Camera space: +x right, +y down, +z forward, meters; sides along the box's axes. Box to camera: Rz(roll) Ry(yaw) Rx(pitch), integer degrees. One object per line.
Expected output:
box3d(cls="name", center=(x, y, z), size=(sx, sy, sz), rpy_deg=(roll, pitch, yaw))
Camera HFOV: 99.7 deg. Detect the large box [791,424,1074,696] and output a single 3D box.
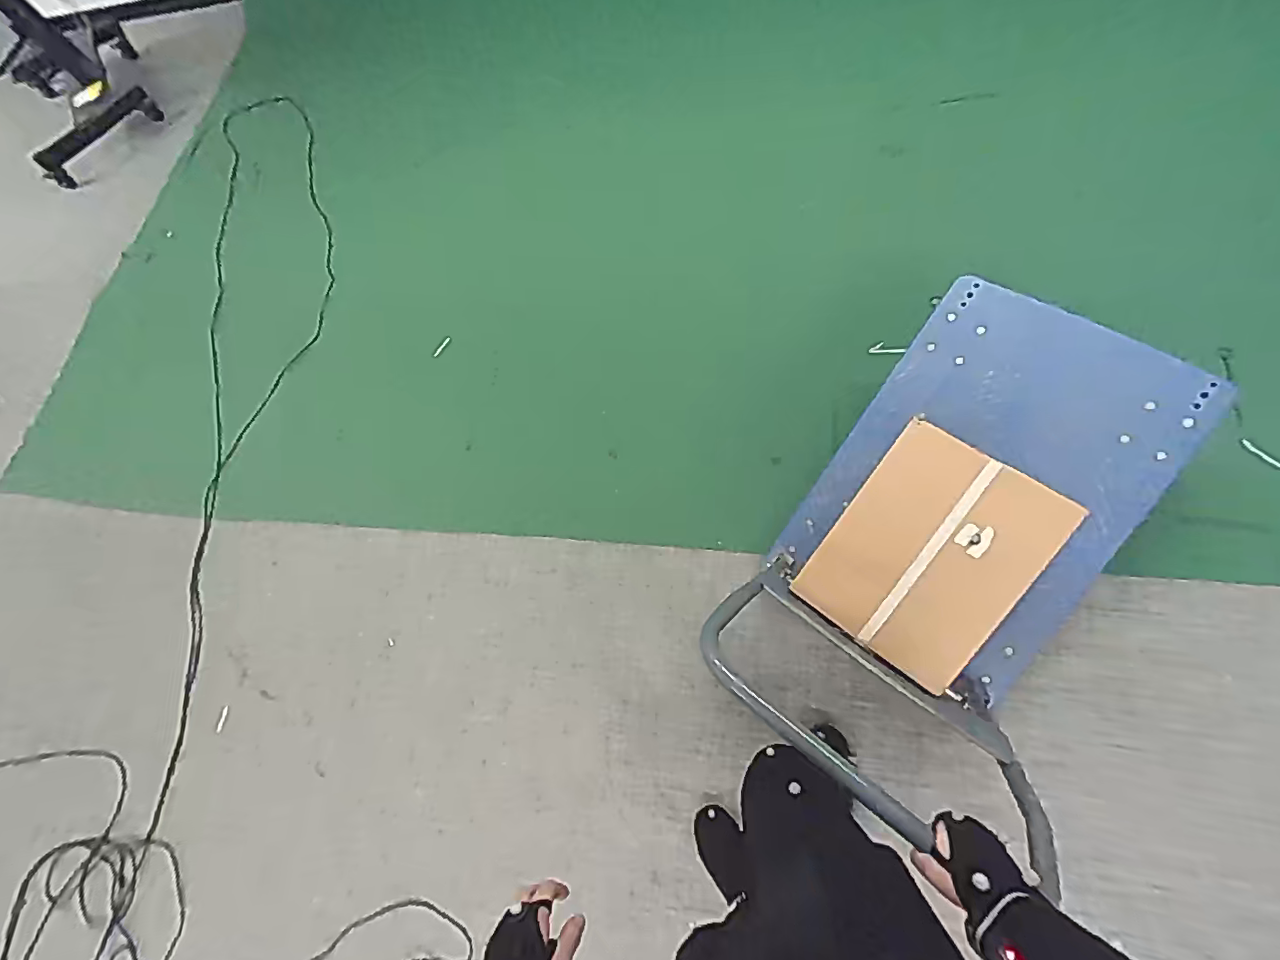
box3d(cls="large box", center=(0.569, 0.158, 1.125), size=(0.320, 0.320, 0.408), rpy_deg=(36, 97, 21))
